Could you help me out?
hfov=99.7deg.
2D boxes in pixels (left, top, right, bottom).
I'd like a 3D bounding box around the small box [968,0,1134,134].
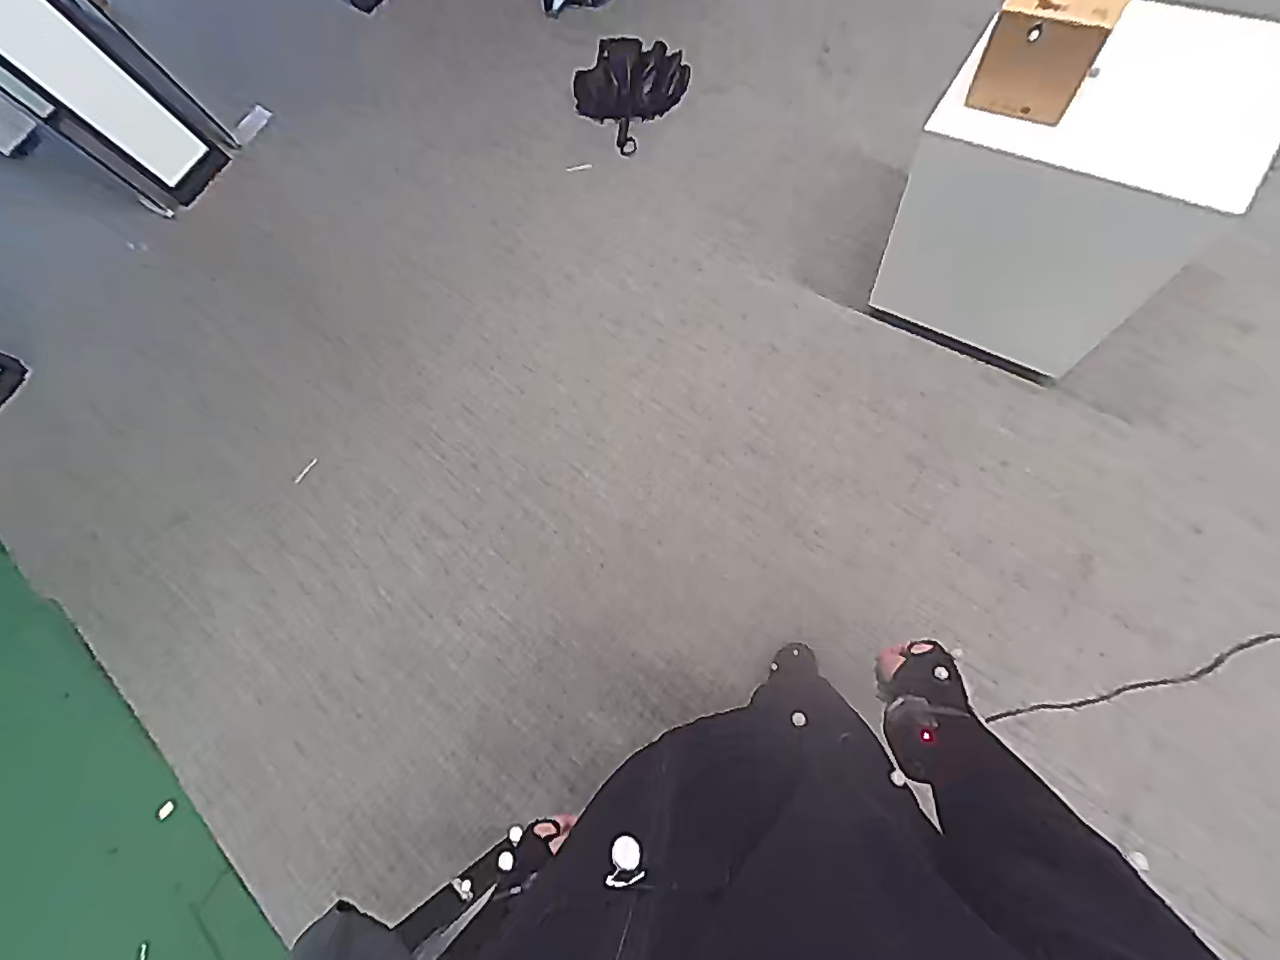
[{"bbox_3d":[0.693,-0.737,0.915,0.168,0.176,0.179,29,80,19],"label":"small box"}]
